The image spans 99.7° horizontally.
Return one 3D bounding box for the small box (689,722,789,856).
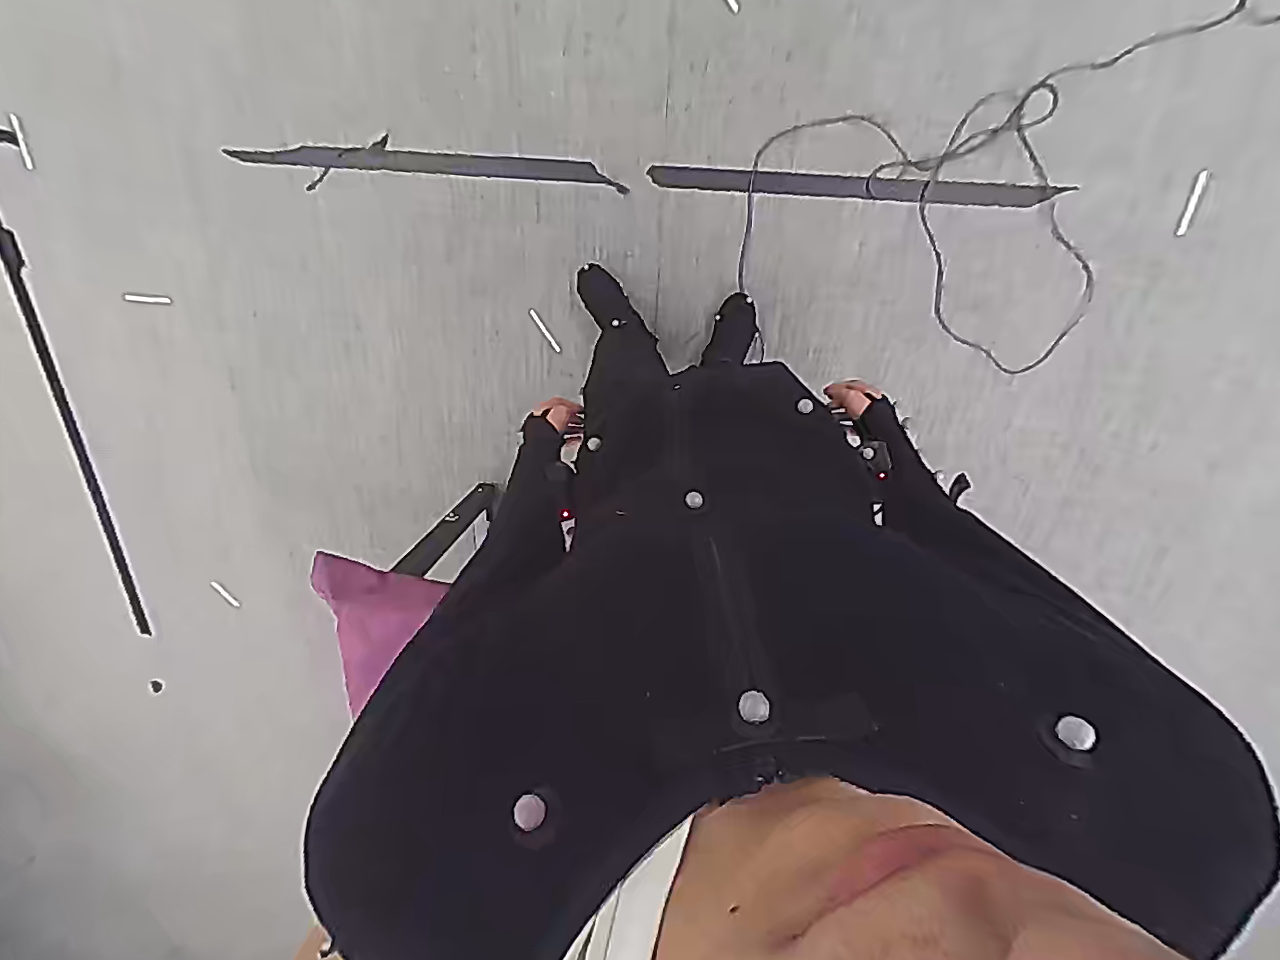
[{"bbox_3d":[0.185,0.585,1.027,0.179,0.176,0.168,-2,111,9],"label":"small box"}]
